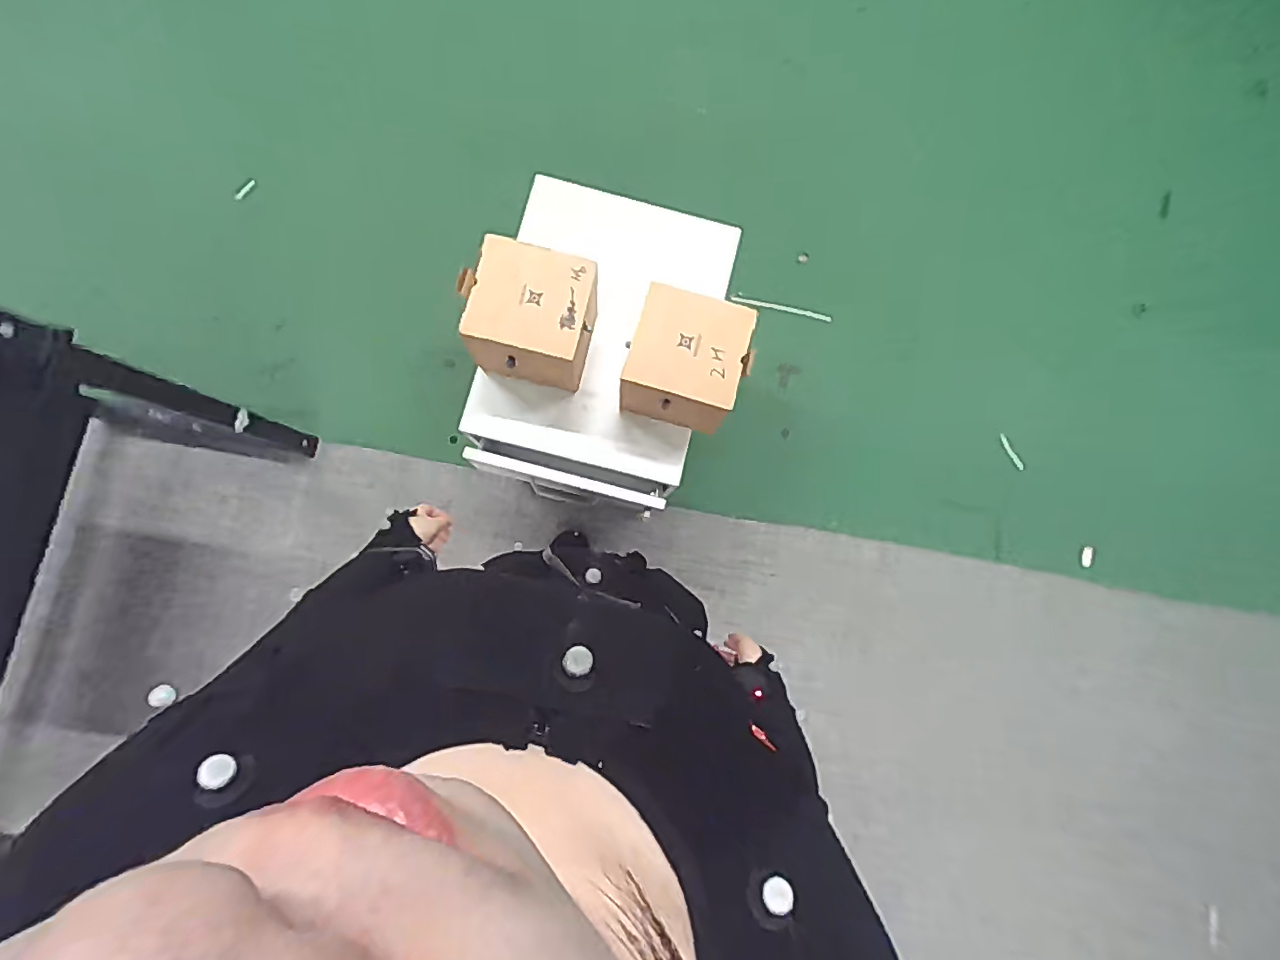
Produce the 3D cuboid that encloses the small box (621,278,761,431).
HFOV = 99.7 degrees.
[{"bbox_3d":[0.072,-0.191,0.874,0.179,0.176,0.168,17,82,-1],"label":"small box"}]

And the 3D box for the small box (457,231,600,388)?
[{"bbox_3d":[-0.168,-0.262,0.870,0.179,0.176,0.168,14,82,-2],"label":"small box"}]
